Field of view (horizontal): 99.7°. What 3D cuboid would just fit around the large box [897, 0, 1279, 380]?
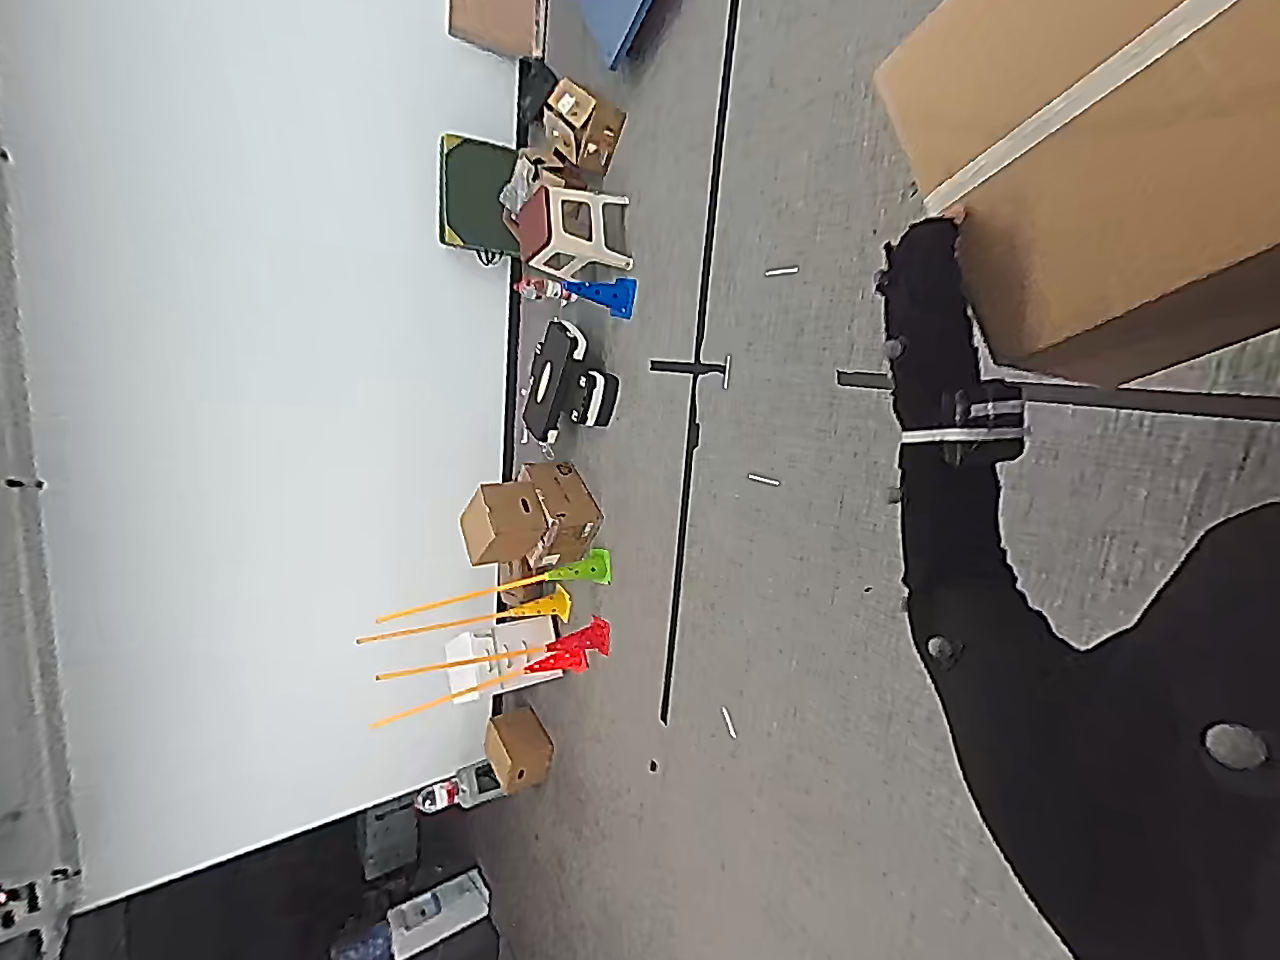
[{"bbox_3d":[0.499,-0.314,0.411,0.408,0.320,0.320,-29,69,50],"label":"large box"}]
